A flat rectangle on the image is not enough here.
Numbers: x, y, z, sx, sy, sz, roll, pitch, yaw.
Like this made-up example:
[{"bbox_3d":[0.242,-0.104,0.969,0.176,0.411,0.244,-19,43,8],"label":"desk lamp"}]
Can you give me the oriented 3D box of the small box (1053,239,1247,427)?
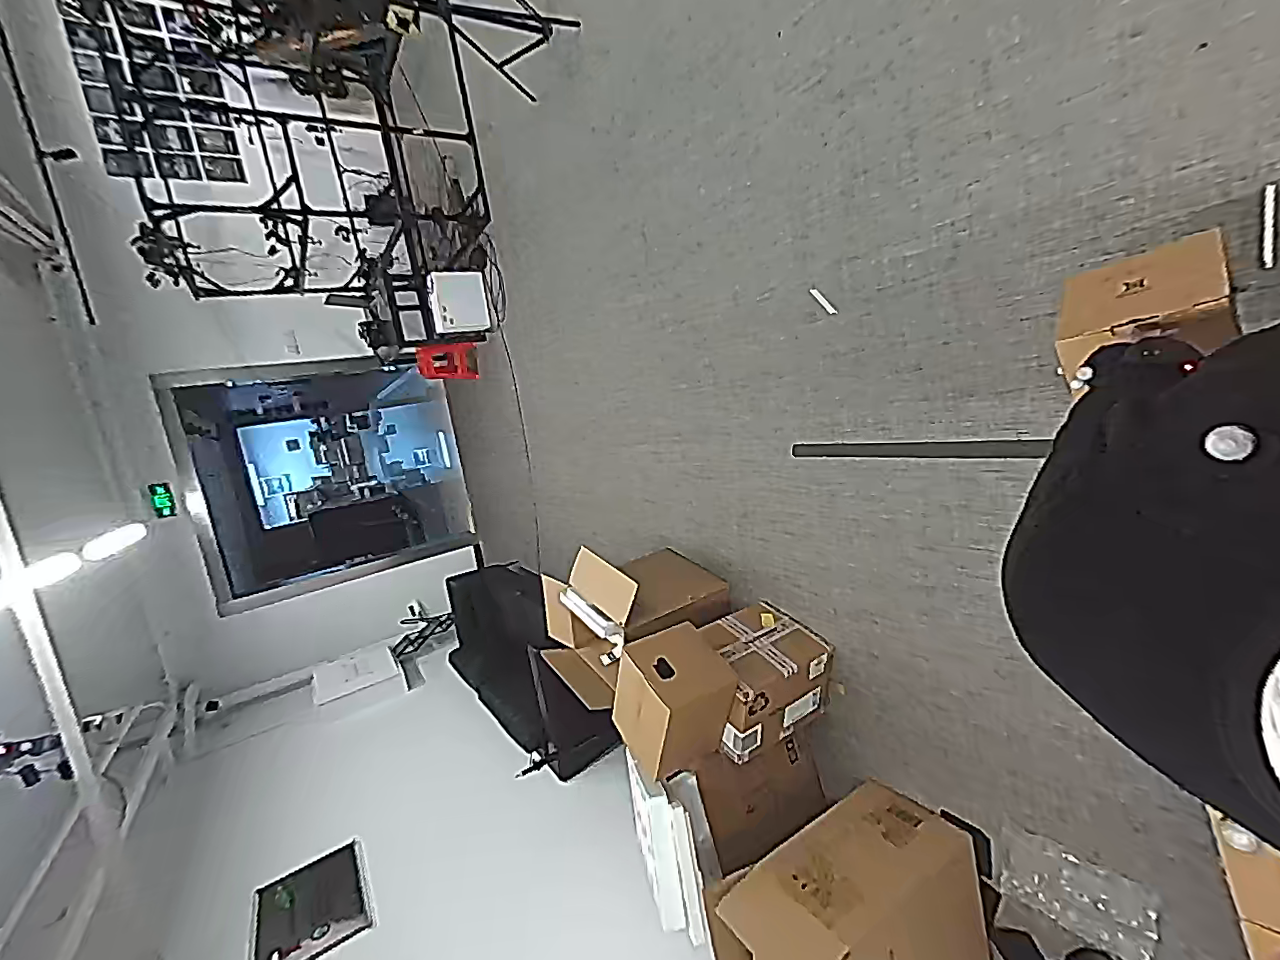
[{"bbox_3d":[0.704,-0.189,0.749,0.168,0.179,0.176,-10,124,49],"label":"small box"}]
